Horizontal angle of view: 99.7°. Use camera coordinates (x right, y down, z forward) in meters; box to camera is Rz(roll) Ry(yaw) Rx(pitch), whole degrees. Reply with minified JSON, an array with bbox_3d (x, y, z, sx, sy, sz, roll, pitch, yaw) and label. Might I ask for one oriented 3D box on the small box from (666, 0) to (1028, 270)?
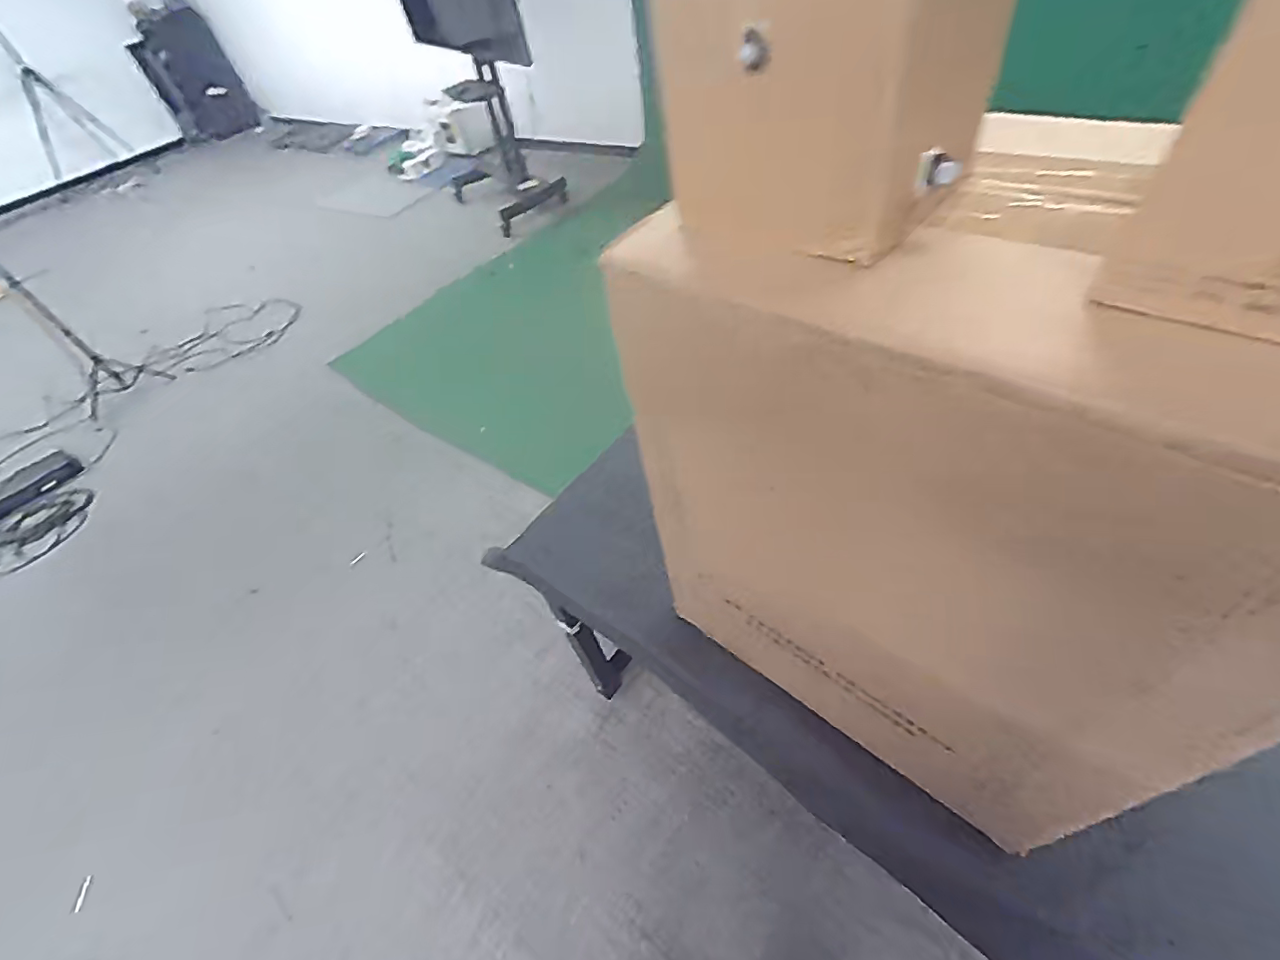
[{"bbox_3d":[0.141,-0.276,0.389,0.179,0.176,0.168,31,63,32],"label":"small box"}]
